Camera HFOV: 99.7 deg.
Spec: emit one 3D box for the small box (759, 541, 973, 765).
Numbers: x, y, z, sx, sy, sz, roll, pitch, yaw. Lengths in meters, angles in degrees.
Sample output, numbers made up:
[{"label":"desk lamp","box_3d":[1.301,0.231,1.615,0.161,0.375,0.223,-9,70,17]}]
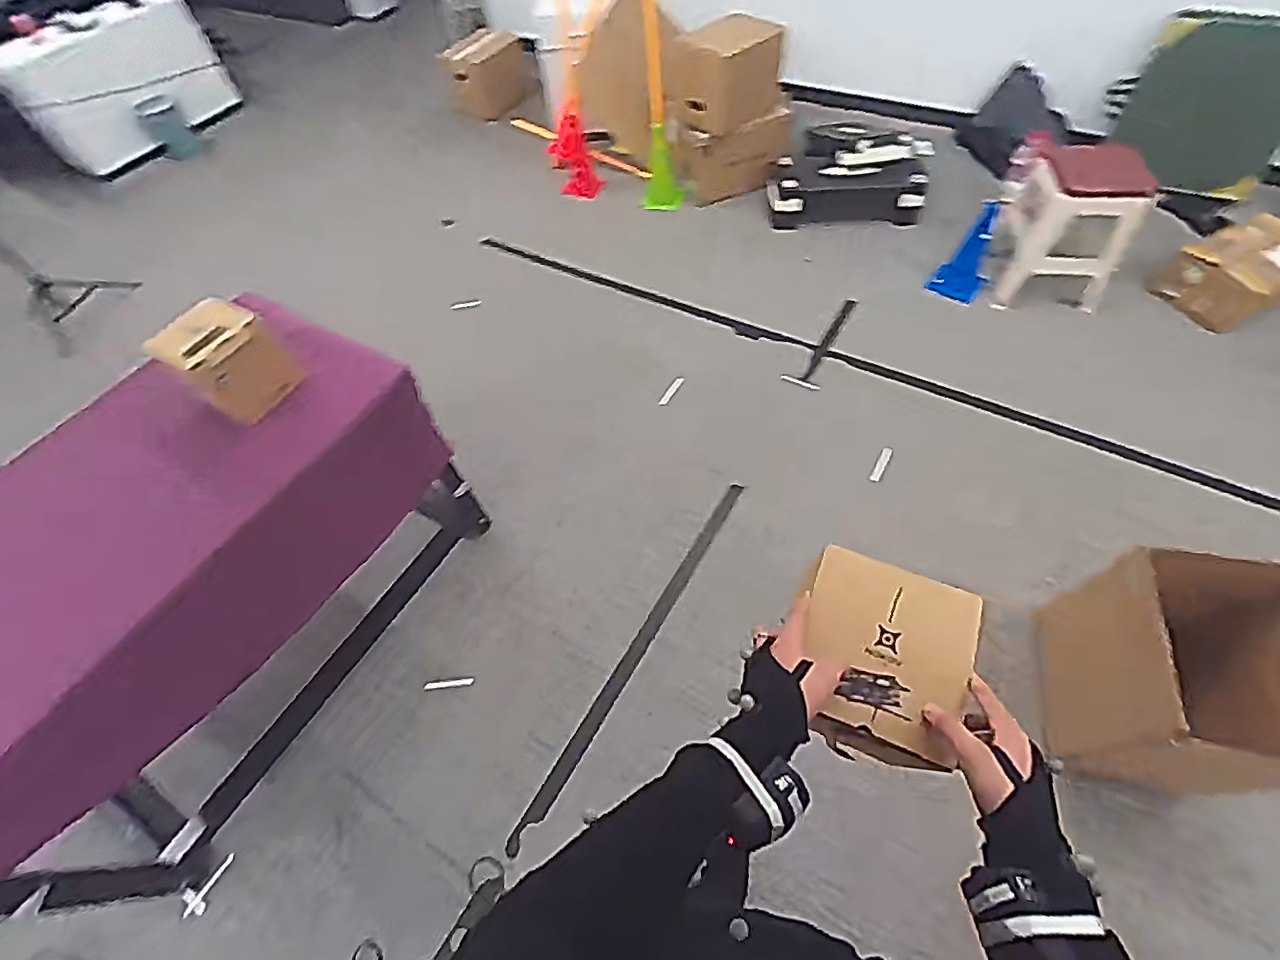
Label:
[{"label":"small box","box_3d":[0.242,0.200,0.613,0.168,0.176,0.179,19,65,12]}]
